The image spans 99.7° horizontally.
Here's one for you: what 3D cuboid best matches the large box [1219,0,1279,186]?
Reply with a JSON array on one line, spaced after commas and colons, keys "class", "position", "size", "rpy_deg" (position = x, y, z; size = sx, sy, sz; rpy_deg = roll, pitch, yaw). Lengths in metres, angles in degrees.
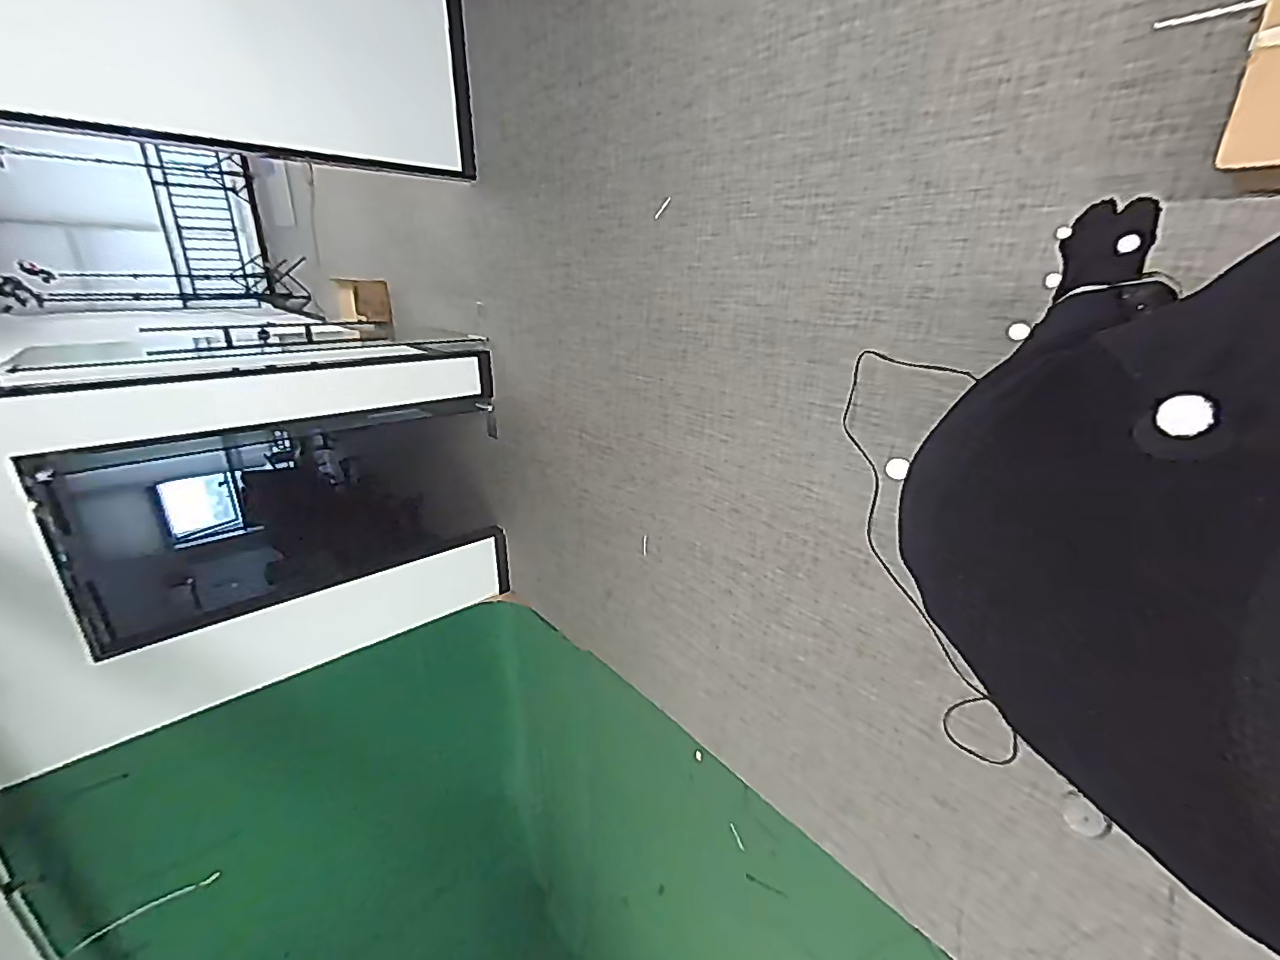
[{"class": "large box", "position": [1.082, -0.587, 0.690], "size": [0.408, 0.320, 0.320], "rpy_deg": [23, 120, 44]}]
